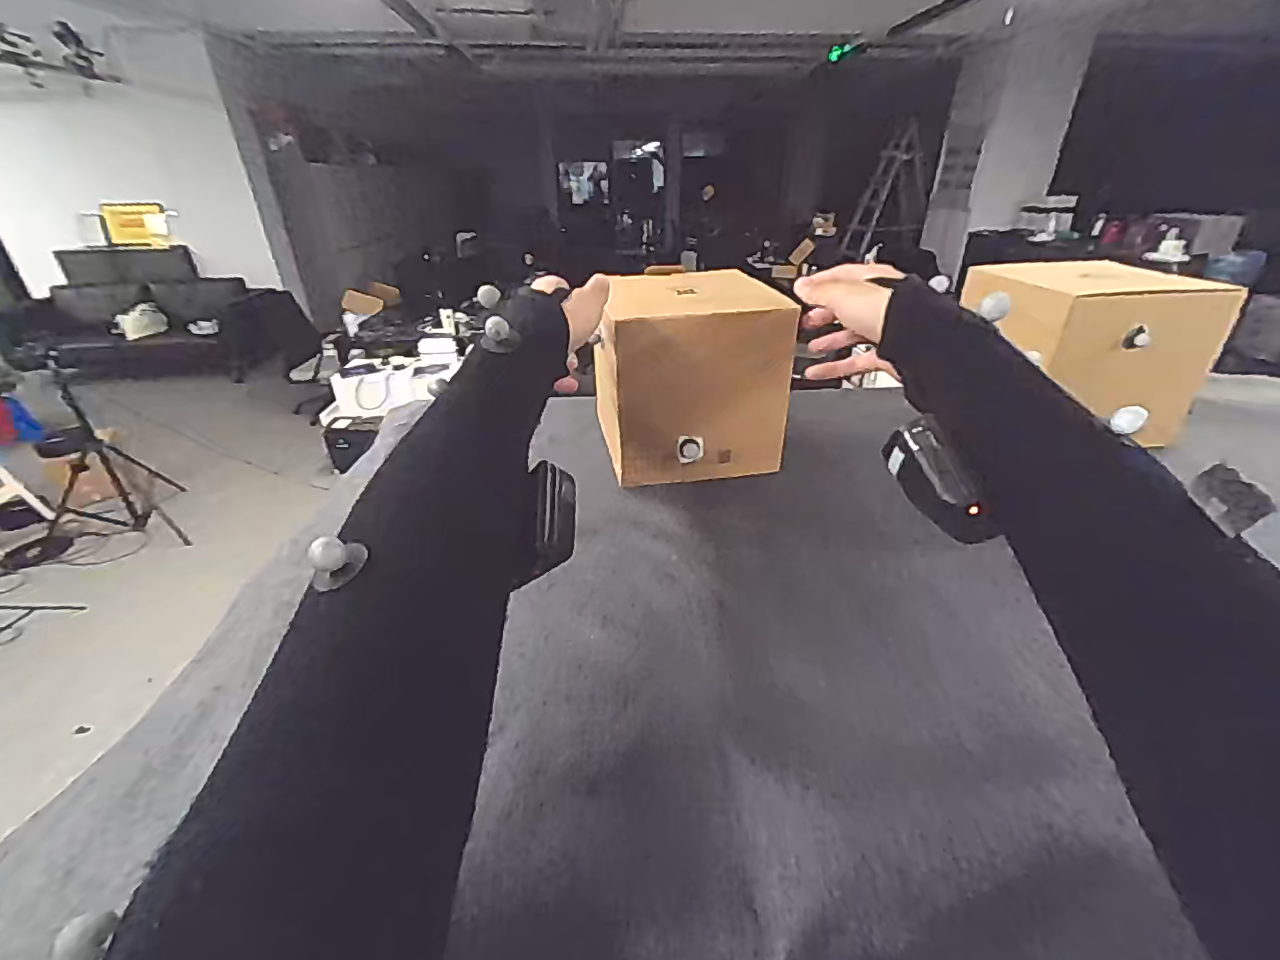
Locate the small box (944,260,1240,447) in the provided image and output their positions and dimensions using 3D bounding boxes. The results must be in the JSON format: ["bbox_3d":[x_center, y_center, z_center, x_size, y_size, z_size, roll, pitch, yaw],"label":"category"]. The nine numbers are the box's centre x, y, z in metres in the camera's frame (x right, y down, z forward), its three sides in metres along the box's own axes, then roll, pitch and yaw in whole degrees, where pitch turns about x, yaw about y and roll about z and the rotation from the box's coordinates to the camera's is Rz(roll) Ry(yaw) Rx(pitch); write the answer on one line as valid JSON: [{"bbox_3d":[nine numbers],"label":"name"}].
[{"bbox_3d":[0.472,-0.144,0.607,0.179,0.176,0.168,-2,30,-3],"label":"small box"}]

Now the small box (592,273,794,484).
[{"bbox_3d":[0.042,-0.112,0.566,0.168,0.176,0.179,-7,30,-8],"label":"small box"}]
